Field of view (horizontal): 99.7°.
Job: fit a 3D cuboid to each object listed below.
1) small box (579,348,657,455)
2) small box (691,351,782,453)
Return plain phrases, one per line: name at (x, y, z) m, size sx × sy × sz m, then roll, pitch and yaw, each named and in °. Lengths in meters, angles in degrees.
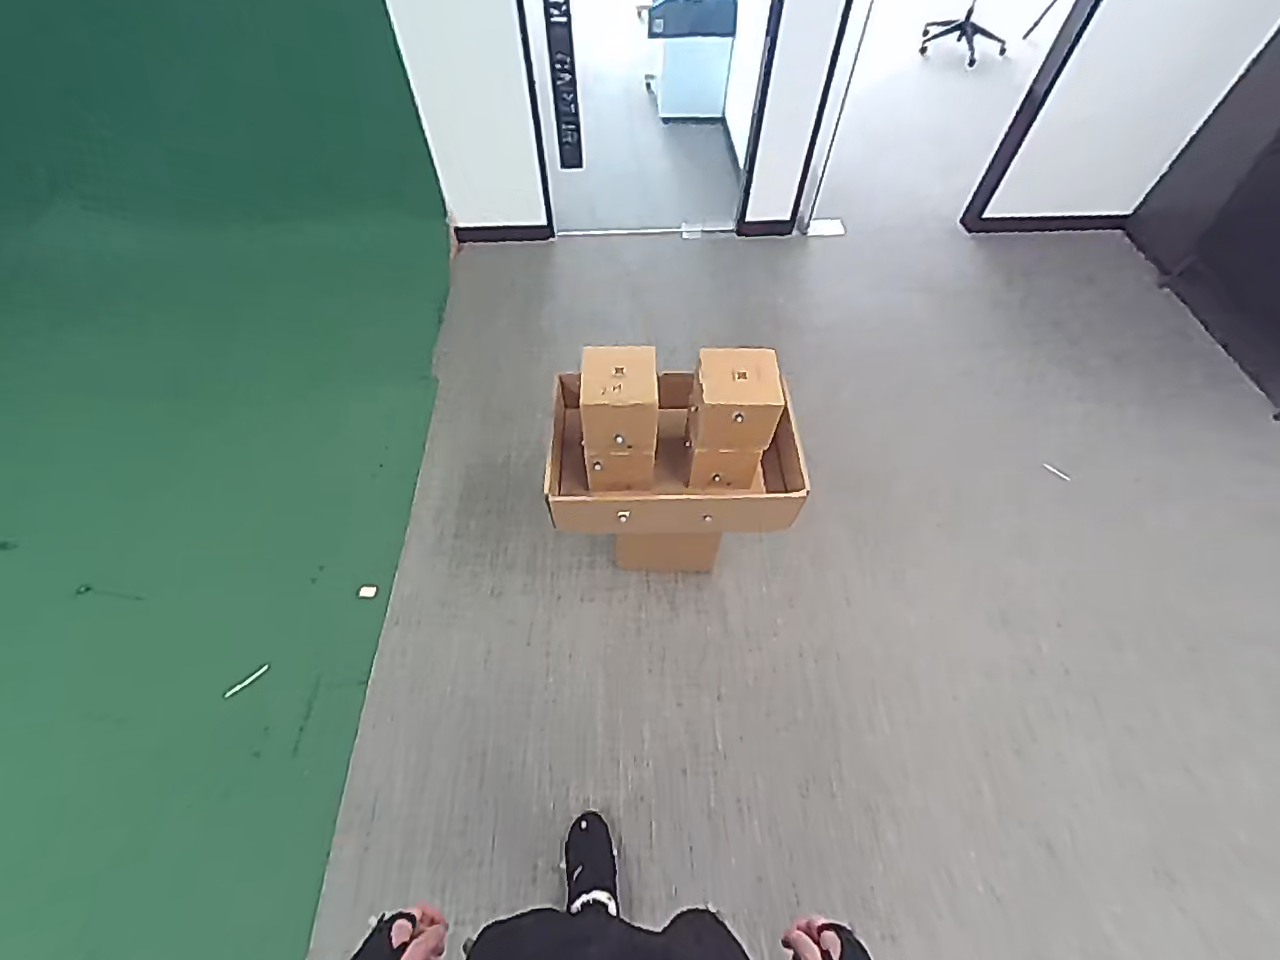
small box at (-0.050, -0.177, 1.230) m, size 0.168 × 0.176 × 0.179 m, roll 0°, pitch 56°, yaw -2°
small box at (0.211, -0.175, 1.242) m, size 0.179 × 0.176 × 0.168 m, roll 2°, pitch 57°, yaw -2°
